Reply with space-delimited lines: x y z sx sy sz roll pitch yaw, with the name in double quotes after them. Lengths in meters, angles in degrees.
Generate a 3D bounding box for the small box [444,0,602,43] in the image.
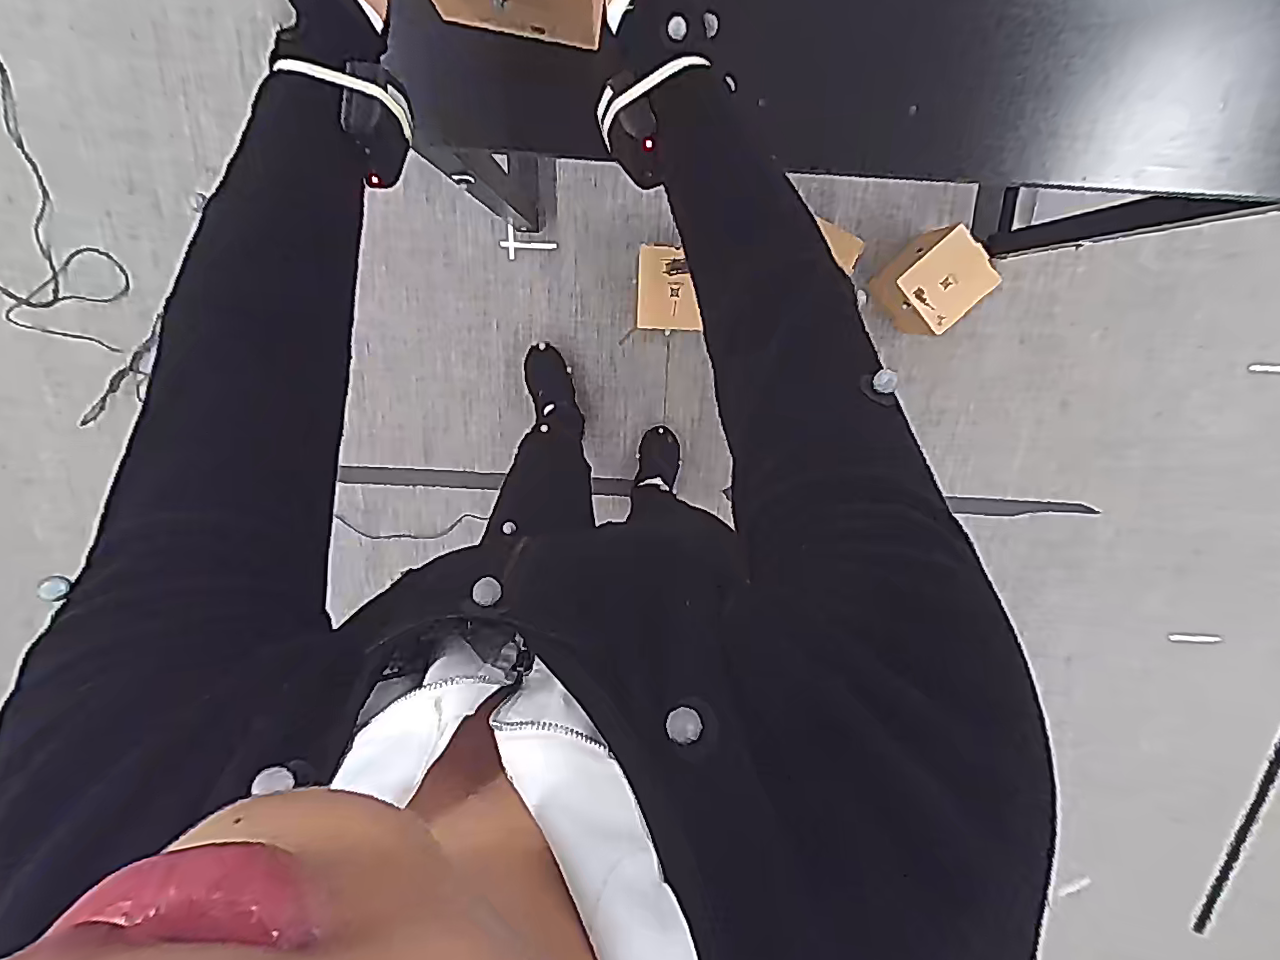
-0.111 -0.530 0.471 0.168 0.176 0.179 8 106 -4 "small box"

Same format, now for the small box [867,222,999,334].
0.672 -0.463 1.263 0.179 0.176 0.168 -43 102 11 "small box"

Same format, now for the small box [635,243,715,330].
0.075 -0.446 1.261 0.168 0.176 0.179 2 108 -1 "small box"
